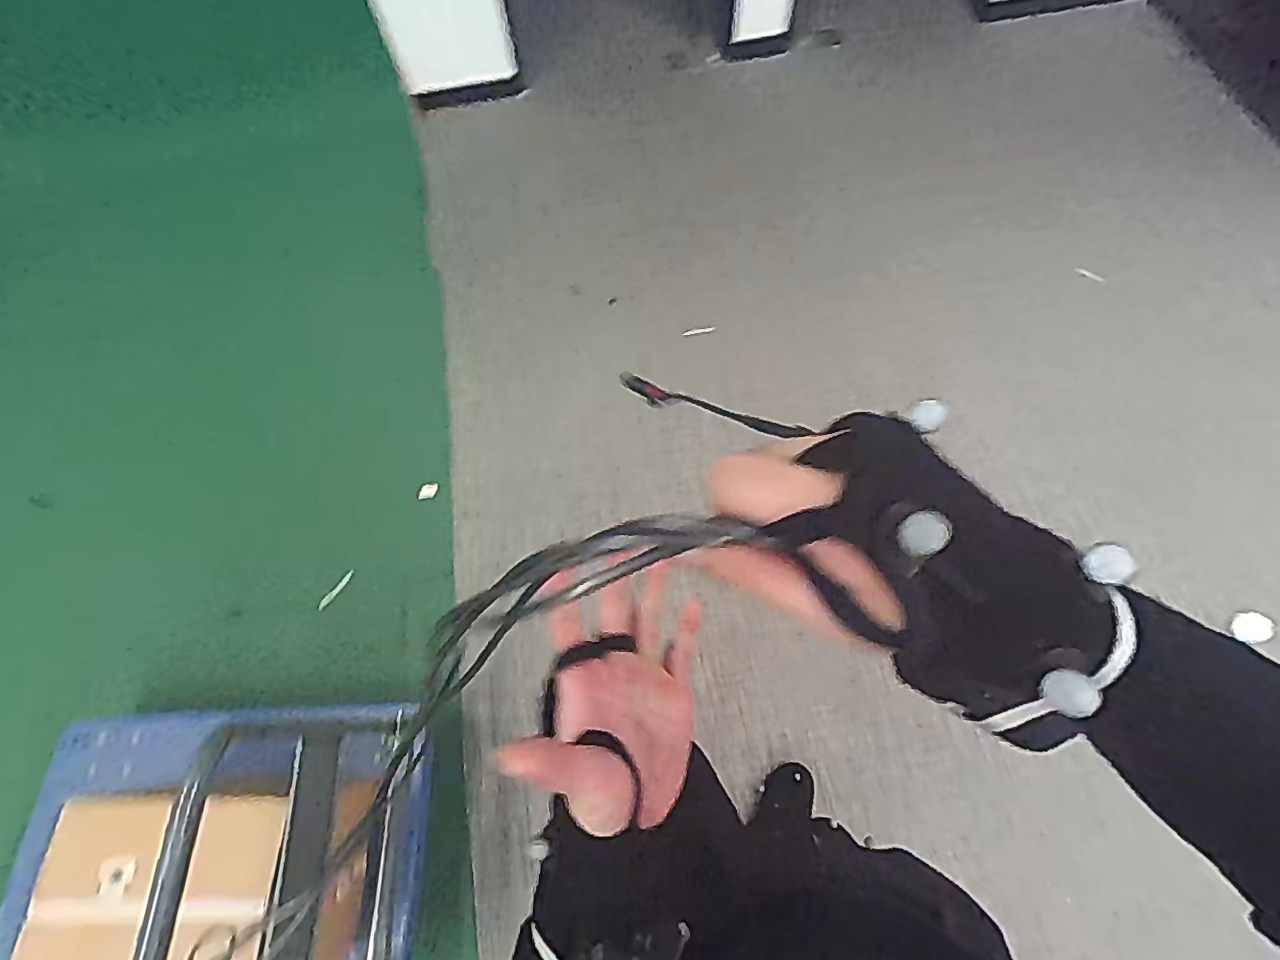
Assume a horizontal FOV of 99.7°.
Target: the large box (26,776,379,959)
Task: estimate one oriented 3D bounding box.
[{"bbox_3d":[-0.778,0.759,1.024,0.408,0.320,0.320,-2,66,2],"label":"large box"}]
